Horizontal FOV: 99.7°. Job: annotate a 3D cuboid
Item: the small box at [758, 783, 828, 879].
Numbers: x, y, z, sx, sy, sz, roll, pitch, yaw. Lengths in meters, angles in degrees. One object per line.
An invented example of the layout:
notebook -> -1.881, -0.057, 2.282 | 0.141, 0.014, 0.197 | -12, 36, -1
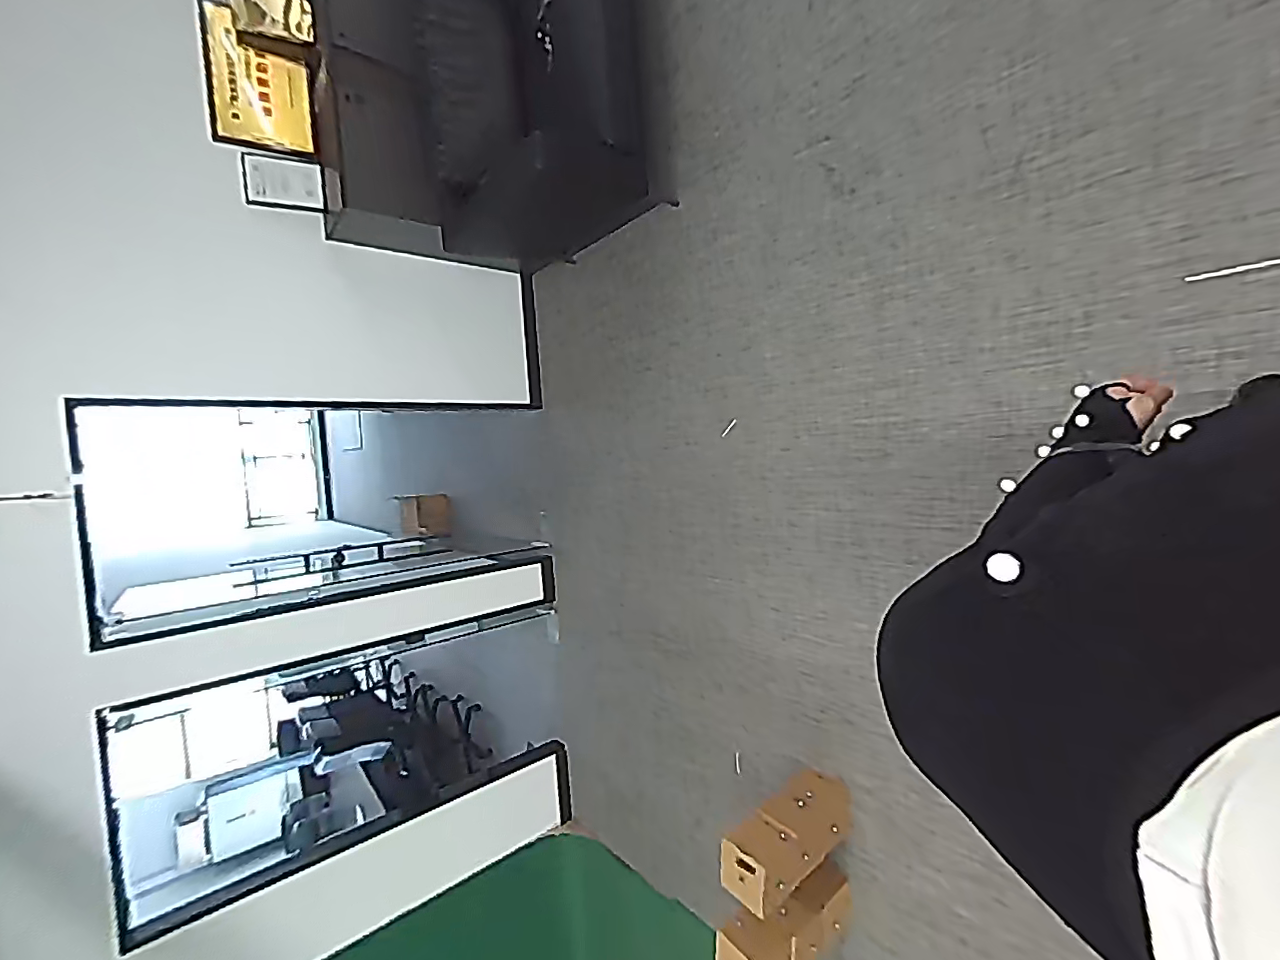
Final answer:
small box -> 0.507, 1.158, 1.797 | 0.168, 0.176, 0.179 | 7, 99, 50

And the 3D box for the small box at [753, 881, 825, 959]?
small box -> 0.507, 1.497, 1.833 | 0.179, 0.176, 0.168 | 9, 101, 50

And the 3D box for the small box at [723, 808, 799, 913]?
small box -> 0.381, 1.179, 1.695 | 0.168, 0.176, 0.179 | 10, 103, 50

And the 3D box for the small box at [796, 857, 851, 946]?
small box -> 0.636, 1.490, 1.938 | 0.179, 0.176, 0.168 | 7, 100, 51

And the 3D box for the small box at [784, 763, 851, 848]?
small box -> 0.627, 1.147, 1.909 | 0.168, 0.176, 0.179 | 4, 98, 50
